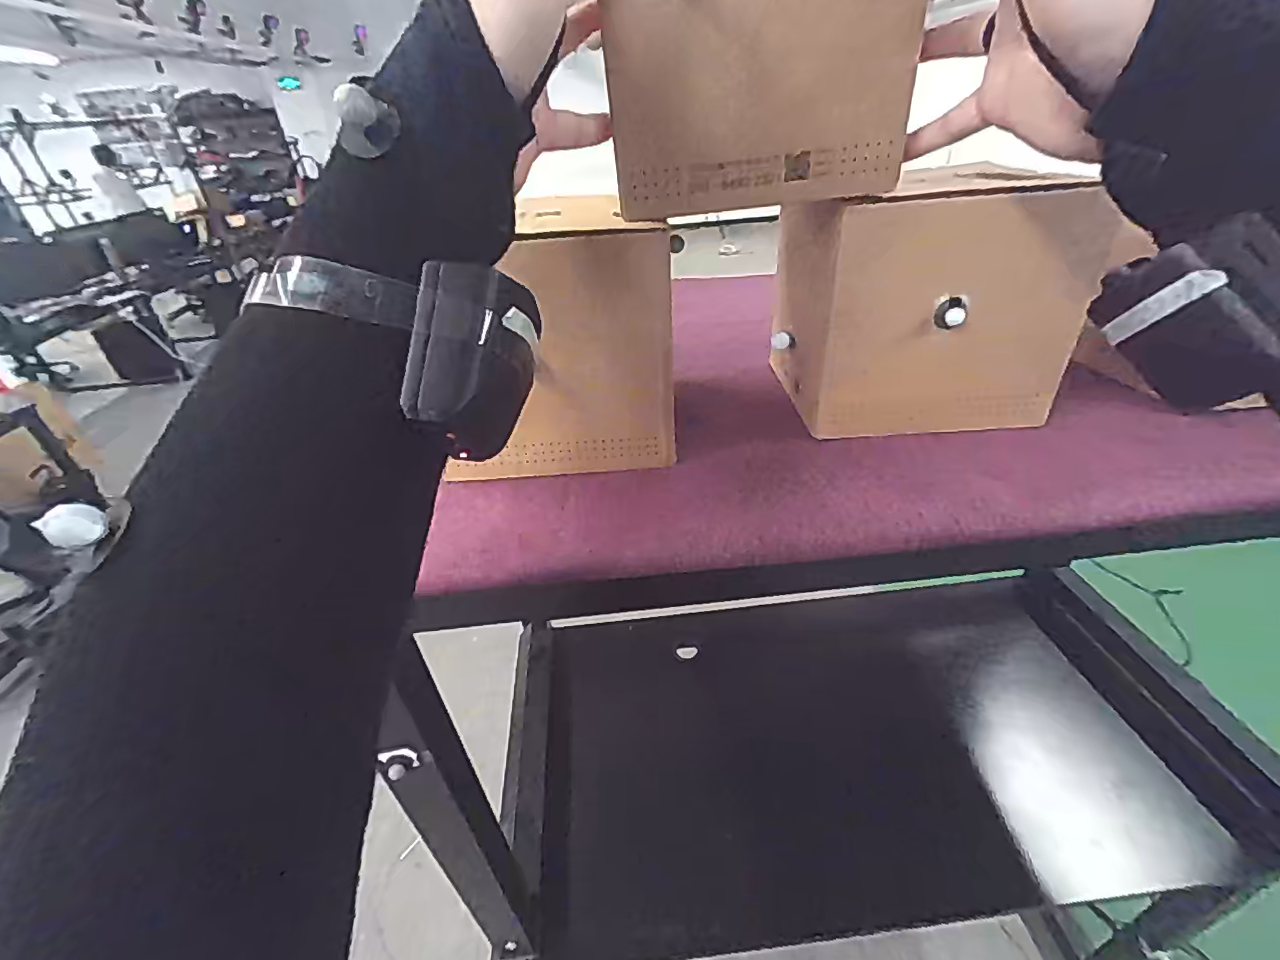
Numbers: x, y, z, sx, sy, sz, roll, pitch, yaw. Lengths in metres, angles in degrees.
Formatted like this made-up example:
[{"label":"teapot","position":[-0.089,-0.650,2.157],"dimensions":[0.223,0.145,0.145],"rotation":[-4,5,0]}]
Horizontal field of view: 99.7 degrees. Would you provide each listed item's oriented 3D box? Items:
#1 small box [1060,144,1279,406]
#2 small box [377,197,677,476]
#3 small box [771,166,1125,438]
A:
[{"label":"small box","position":[0.488,-0.168,0.439],"dimensions":[0.179,0.176,0.168],"rotation":[-5,33,-1]},{"label":"small box","position":[-0.066,-0.114,0.425],"dimensions":[0.179,0.176,0.168],"rotation":[-4,34,0]},{"label":"small box","position":[0.213,-0.146,0.438],"dimensions":[0.179,0.176,0.168],"rotation":[-4,33,2]}]
